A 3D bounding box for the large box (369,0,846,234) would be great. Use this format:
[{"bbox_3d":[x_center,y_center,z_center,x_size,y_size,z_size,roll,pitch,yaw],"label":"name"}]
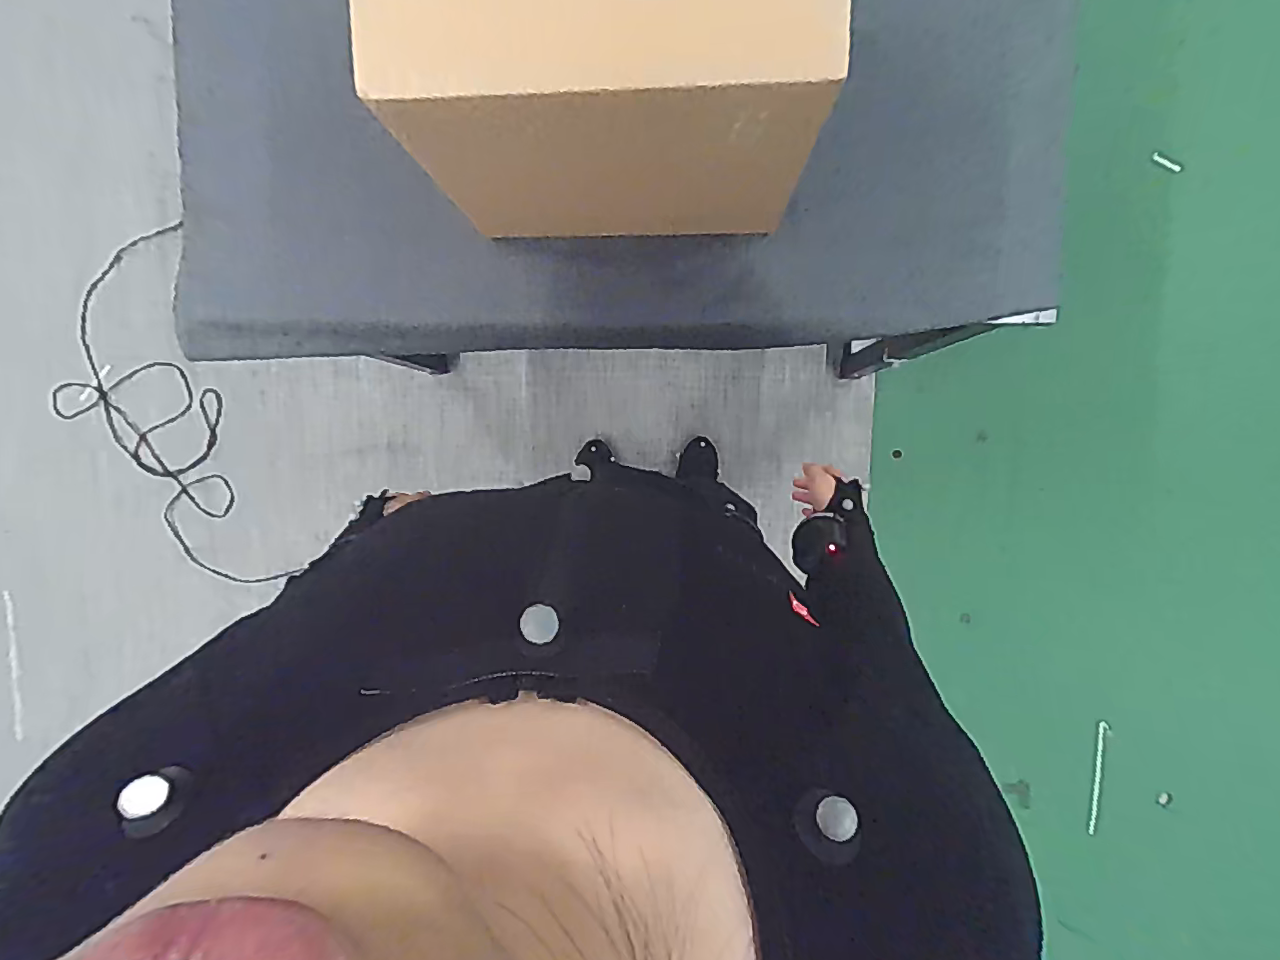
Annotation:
[{"bbox_3d":[-0.027,-0.490,0.591,0.408,0.320,0.320,0,95,3],"label":"large box"}]
